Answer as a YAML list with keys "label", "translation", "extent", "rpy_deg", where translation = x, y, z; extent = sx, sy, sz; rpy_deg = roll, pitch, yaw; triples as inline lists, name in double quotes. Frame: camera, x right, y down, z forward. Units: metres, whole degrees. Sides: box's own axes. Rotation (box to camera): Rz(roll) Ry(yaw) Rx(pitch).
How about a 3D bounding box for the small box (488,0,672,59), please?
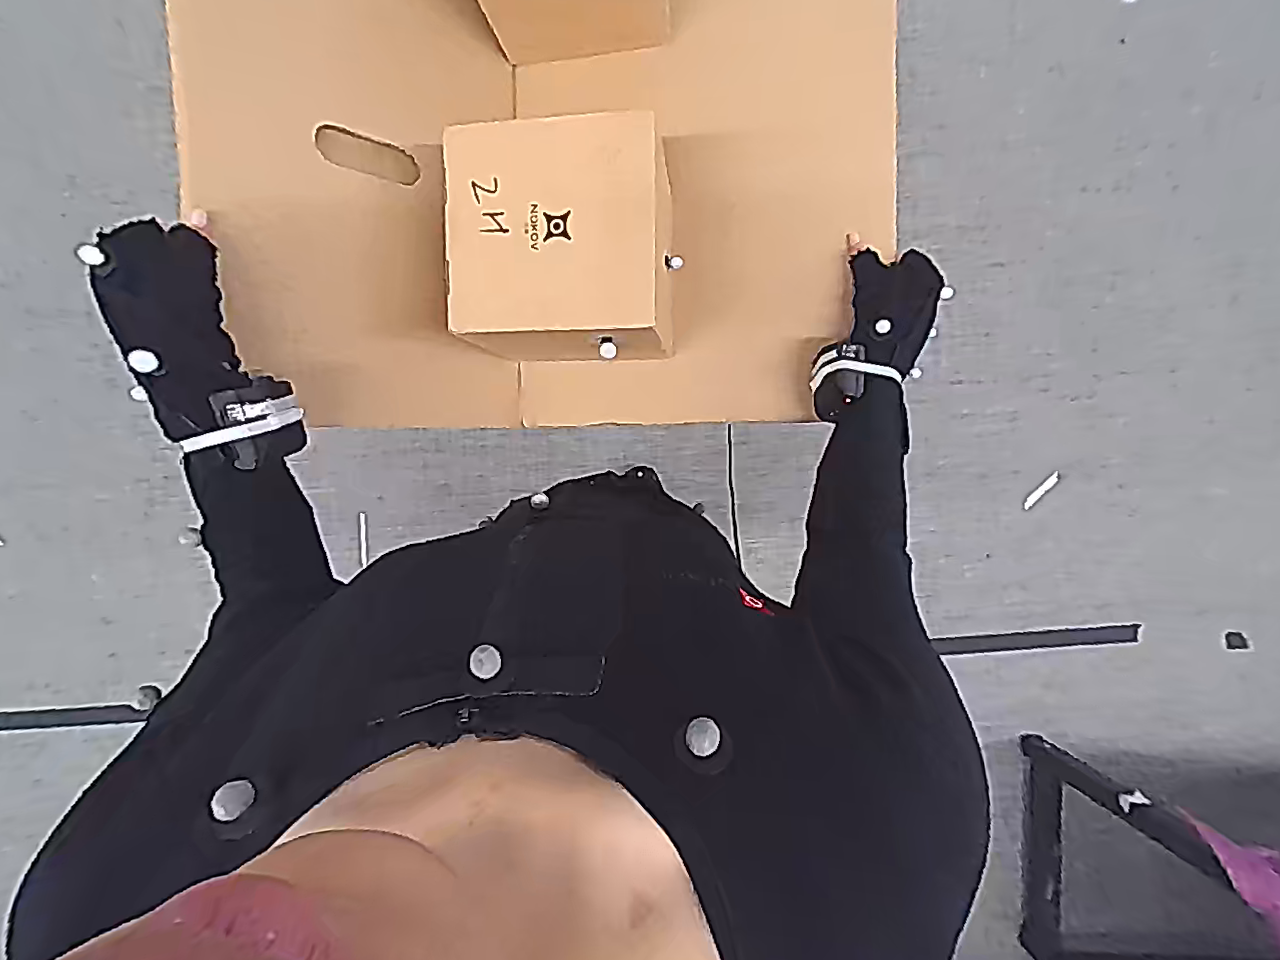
- label: "small box"
  translation: [-0.065, -0.533, 0.500]
  extent: [0.179, 0.176, 0.168]
  rpy_deg: [-1, 93, 7]

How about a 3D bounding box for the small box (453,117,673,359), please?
- label: "small box"
  translation: [-0.060, -0.213, 0.520]
  extent: [0.179, 0.176, 0.168]
  rpy_deg: [1, 94, 8]
